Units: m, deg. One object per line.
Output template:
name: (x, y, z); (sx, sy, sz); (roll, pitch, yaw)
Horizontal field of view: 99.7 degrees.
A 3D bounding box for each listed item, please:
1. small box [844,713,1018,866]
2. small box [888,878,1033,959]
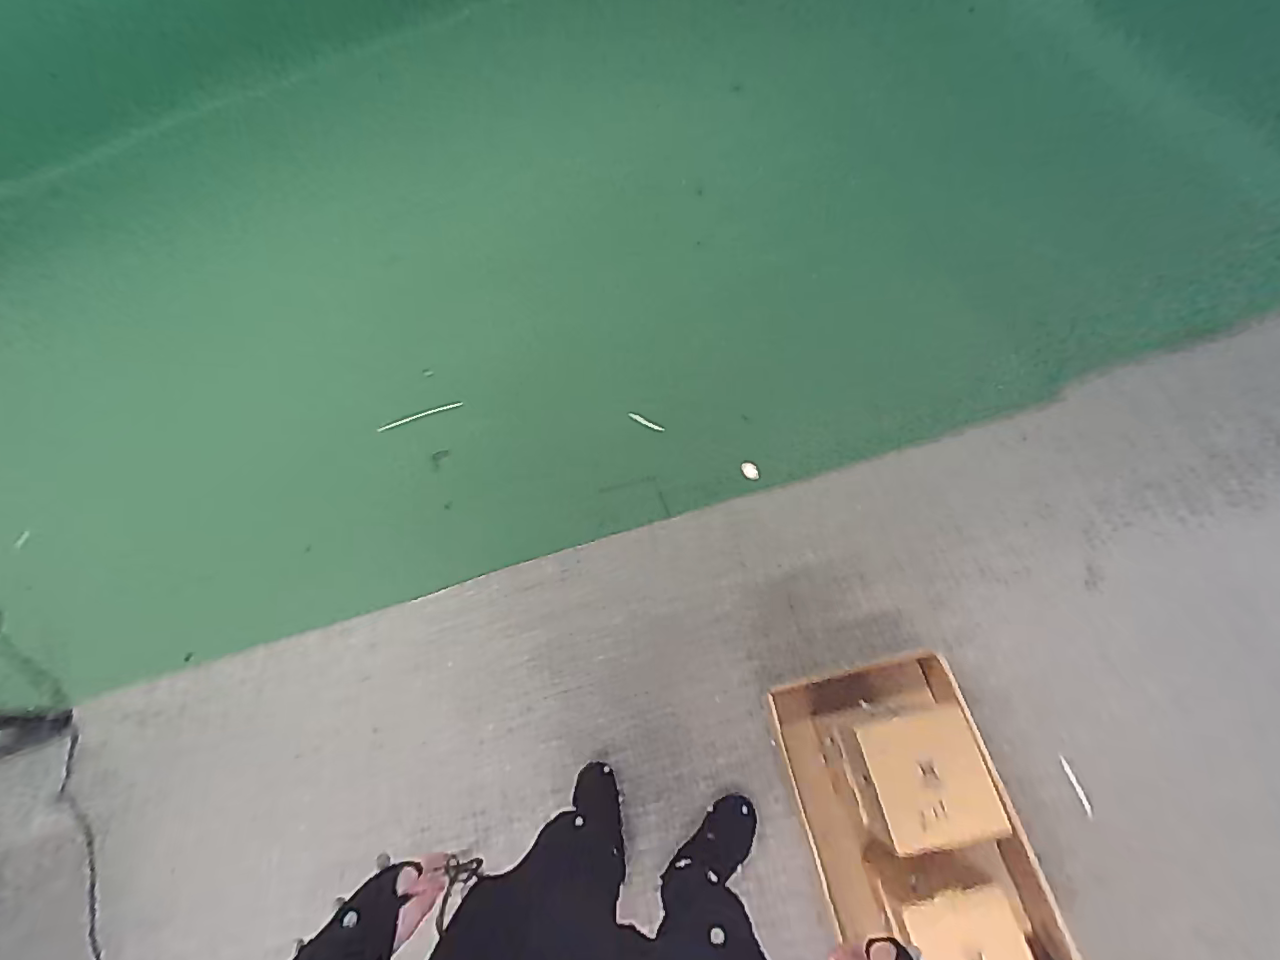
small box: (0.445, 0.482, 0.865); (0.168, 0.176, 0.179); (-15, 66, 4)
small box: (0.537, 0.791, 0.896); (0.168, 0.176, 0.179); (-18, 64, 5)
